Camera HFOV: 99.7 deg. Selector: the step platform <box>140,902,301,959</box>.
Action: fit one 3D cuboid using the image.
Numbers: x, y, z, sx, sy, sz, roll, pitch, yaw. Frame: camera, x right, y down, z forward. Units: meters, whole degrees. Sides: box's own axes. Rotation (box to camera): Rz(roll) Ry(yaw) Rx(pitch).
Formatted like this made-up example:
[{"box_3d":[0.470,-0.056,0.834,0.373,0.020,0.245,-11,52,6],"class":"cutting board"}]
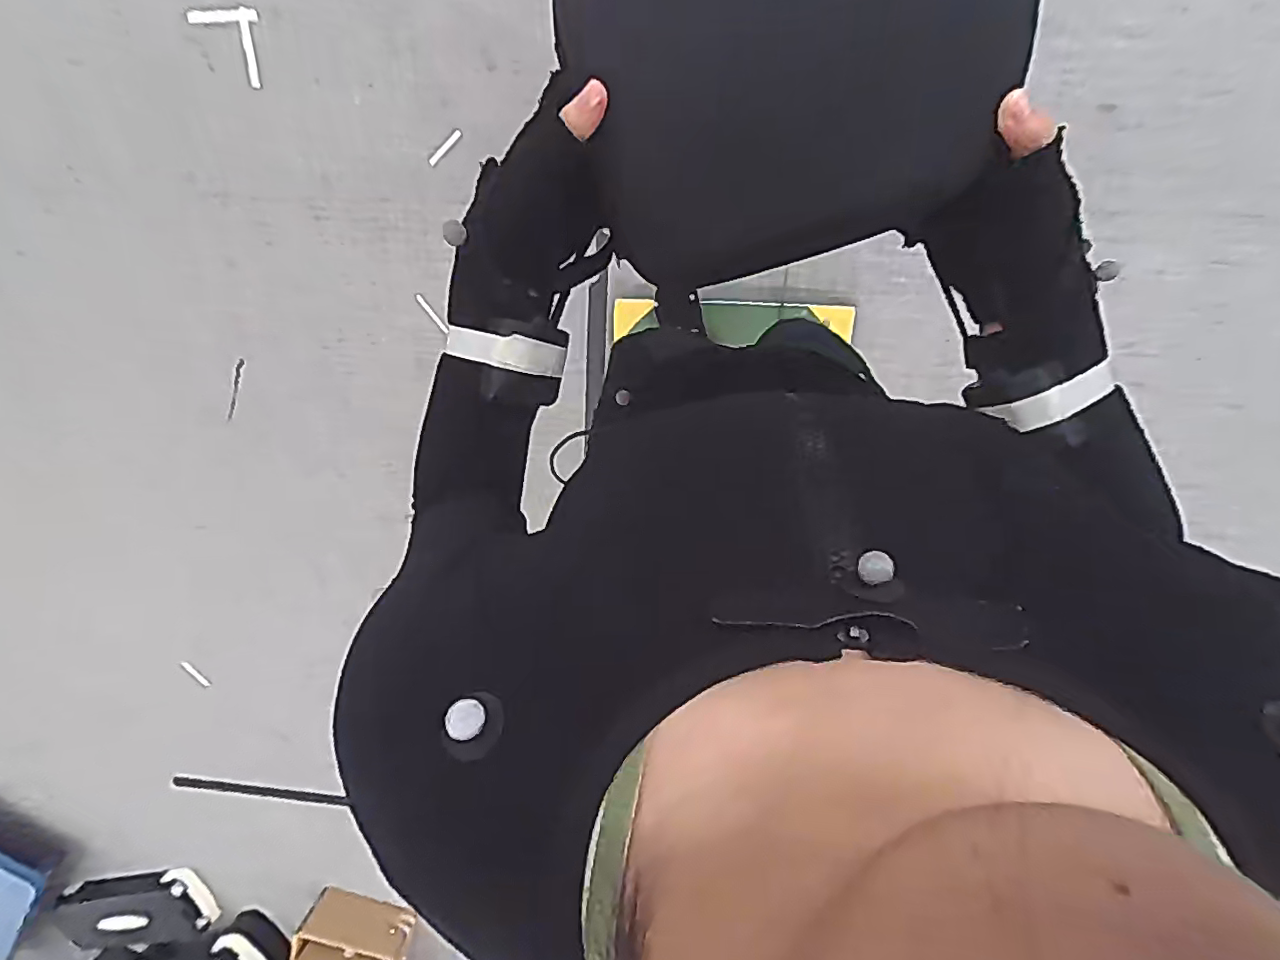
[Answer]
[{"box_3d":[-1.822,2.058,2.303,0.684,0.204,0.286,-25,104,12],"class":"step platform"}]
